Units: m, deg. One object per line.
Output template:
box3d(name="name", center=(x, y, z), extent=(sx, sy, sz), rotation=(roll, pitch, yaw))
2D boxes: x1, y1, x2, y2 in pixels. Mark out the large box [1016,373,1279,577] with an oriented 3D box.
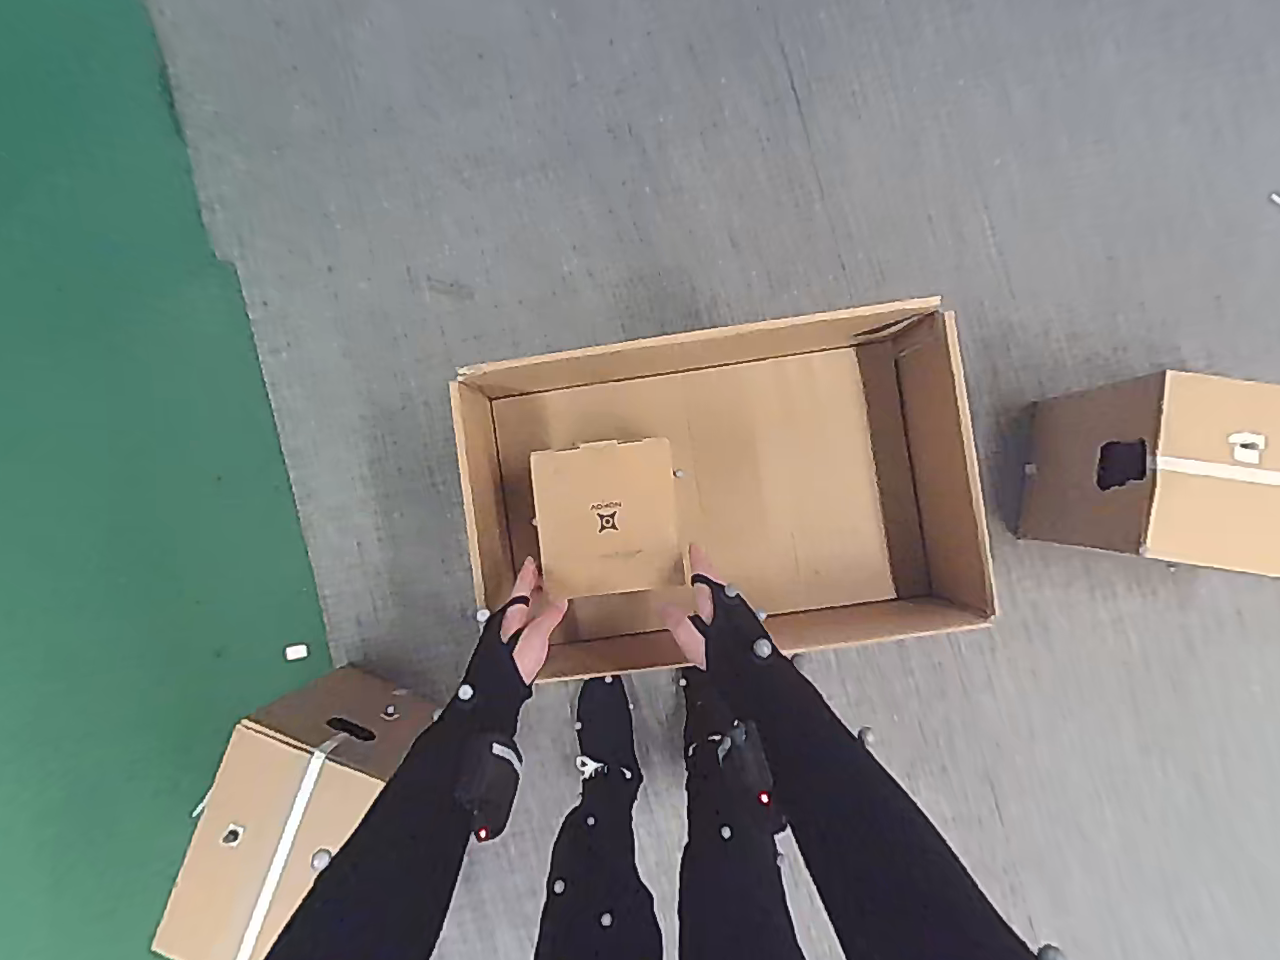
box3d(name="large box", center=(1.030, 0.001, 1.025), extent=(0.408, 0.320, 0.320), rotation=(8, 88, 3))
